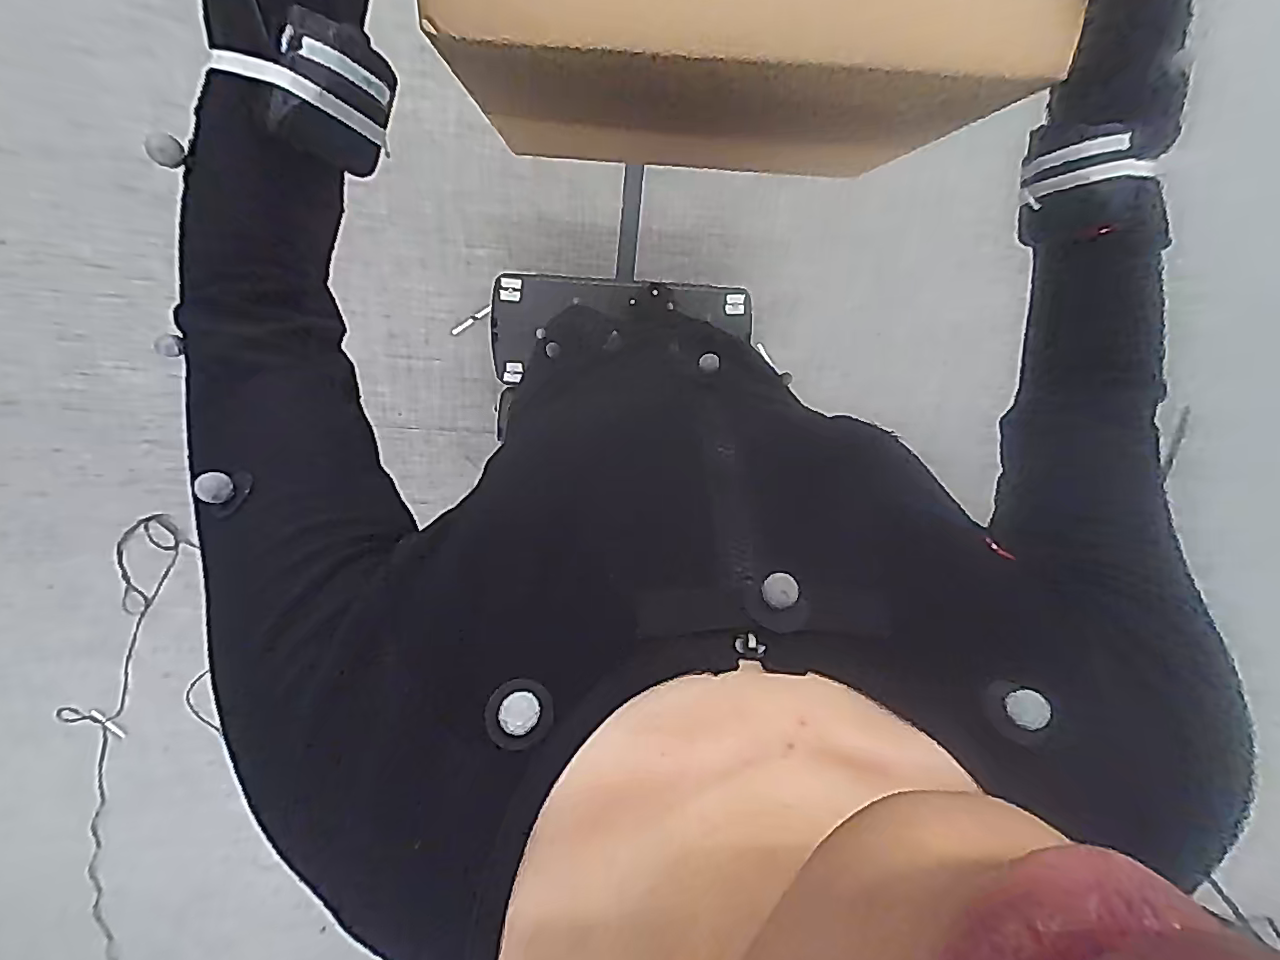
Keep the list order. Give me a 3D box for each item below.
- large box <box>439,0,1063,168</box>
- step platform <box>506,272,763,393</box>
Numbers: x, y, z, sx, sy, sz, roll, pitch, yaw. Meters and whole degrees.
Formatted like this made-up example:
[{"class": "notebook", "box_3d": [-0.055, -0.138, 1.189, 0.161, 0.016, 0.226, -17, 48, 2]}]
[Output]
[{"class": "large box", "box_3d": [0.067, -0.465, 0.438, 0.408, 0.320, 0.320, 1, 110, -4]}, {"class": "step platform", "box_3d": [-0.016, -0.398, 1.474, 0.684, 0.204, 0.286, 1, 107, -5]}]
